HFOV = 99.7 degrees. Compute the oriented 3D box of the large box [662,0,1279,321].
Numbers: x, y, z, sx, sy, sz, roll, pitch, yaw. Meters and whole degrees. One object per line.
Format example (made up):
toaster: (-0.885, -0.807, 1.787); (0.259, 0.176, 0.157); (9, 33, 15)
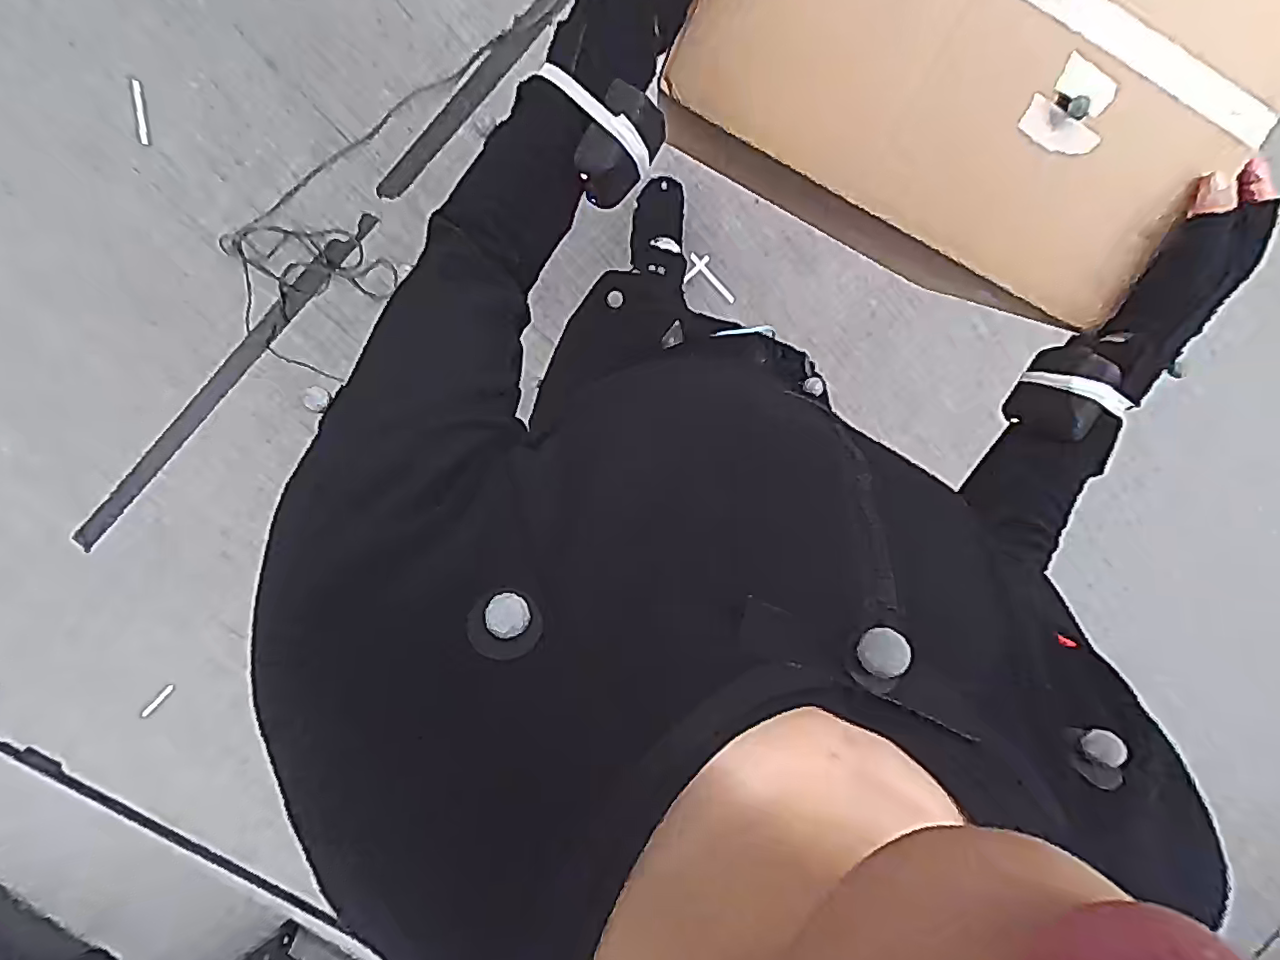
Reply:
large box: (0.263, -0.398, 0.497); (0.408, 0.320, 0.320); (24, 116, -11)
